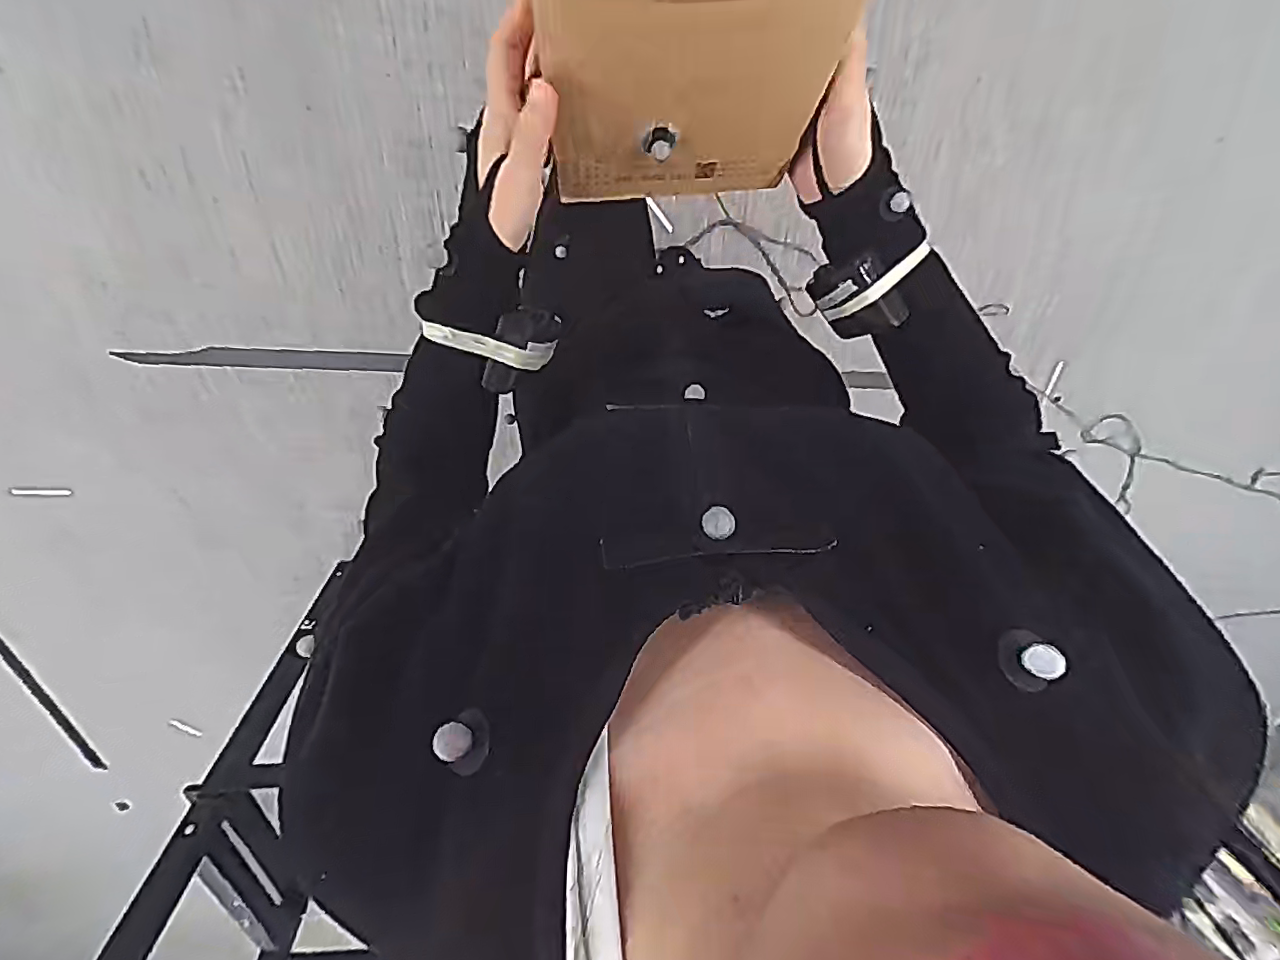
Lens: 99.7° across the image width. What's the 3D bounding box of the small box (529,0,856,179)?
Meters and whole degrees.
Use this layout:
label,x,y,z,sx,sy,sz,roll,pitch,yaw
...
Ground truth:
label,x,y,z,sx,sy,sz,roll,pitch,yaw
small box,0.016,-0.311,0.312,0.168,0.176,0.179,-7,85,-4
